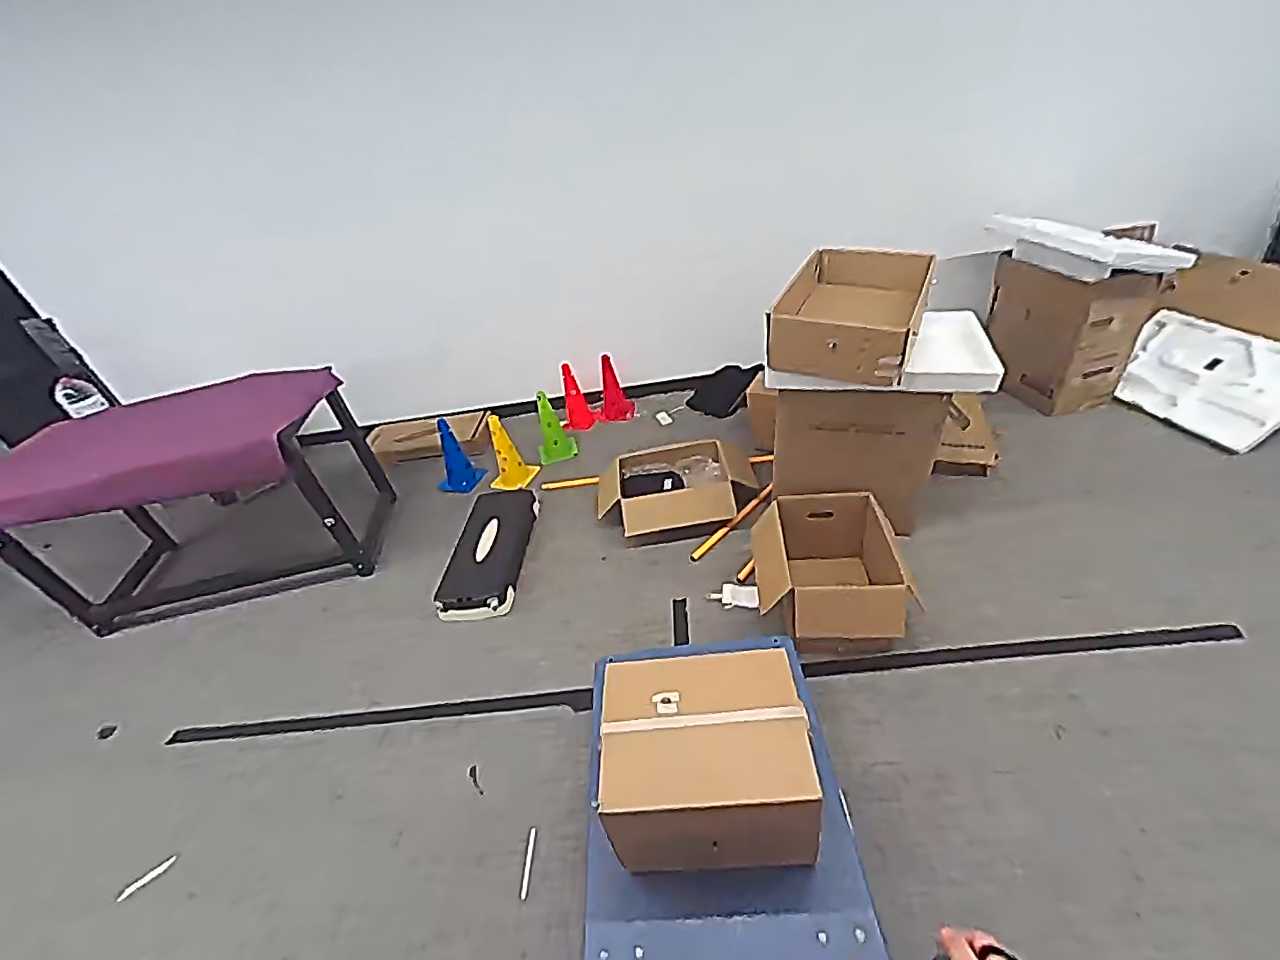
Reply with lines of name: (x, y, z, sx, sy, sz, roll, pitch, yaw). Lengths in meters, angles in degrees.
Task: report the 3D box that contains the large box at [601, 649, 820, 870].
large box: (0.147, 0.611, 1.183, 0.408, 0.320, 0.320, -8, 35, 5)
